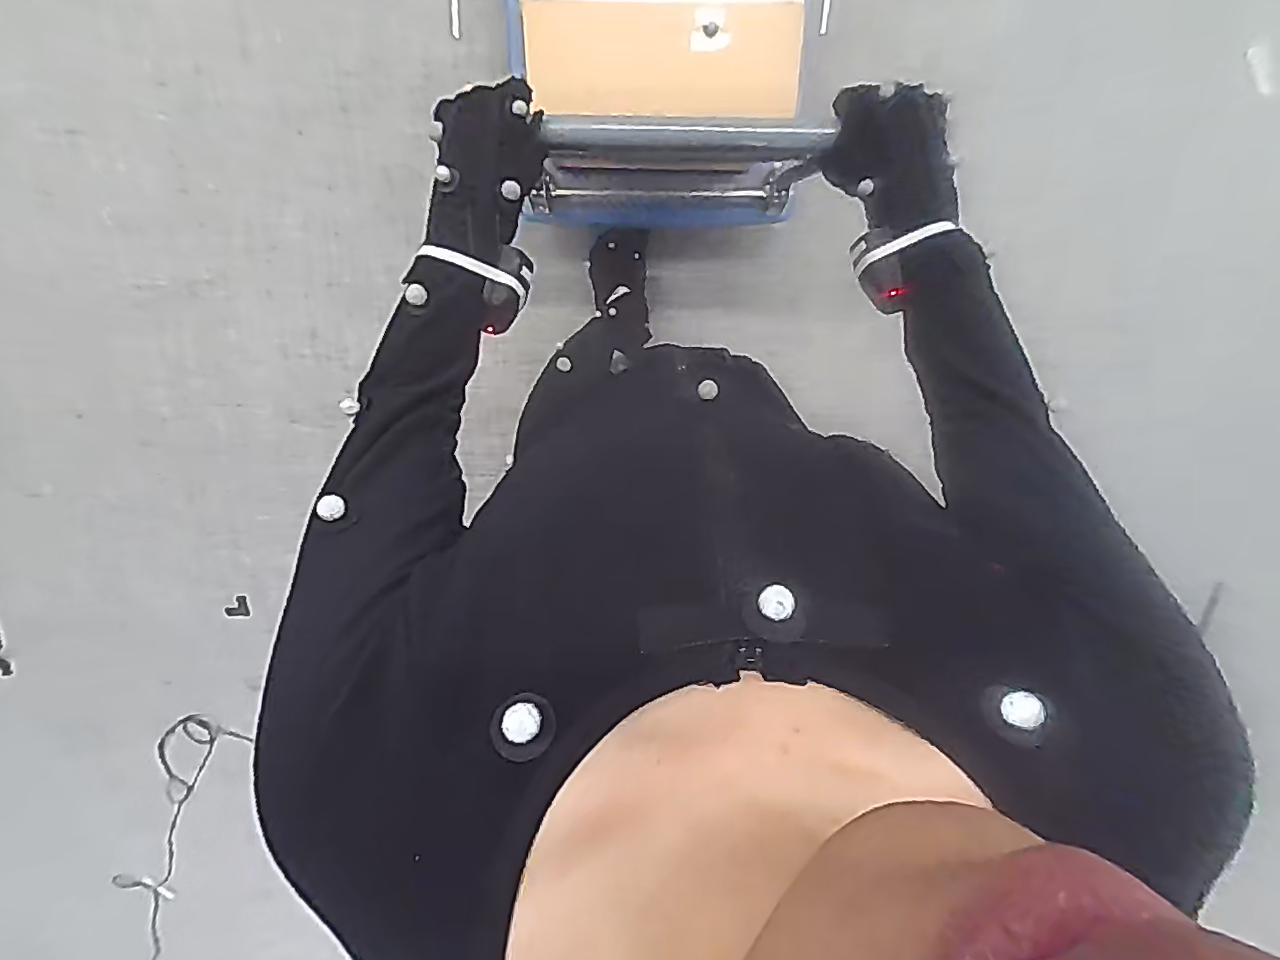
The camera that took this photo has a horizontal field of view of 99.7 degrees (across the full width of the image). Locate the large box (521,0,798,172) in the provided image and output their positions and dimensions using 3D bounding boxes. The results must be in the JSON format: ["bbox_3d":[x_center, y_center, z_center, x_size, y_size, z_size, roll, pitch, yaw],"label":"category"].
[{"bbox_3d":[0.020,-0.727,0.908,0.408,0.320,0.320,-1,109,-3],"label":"large box"}]
